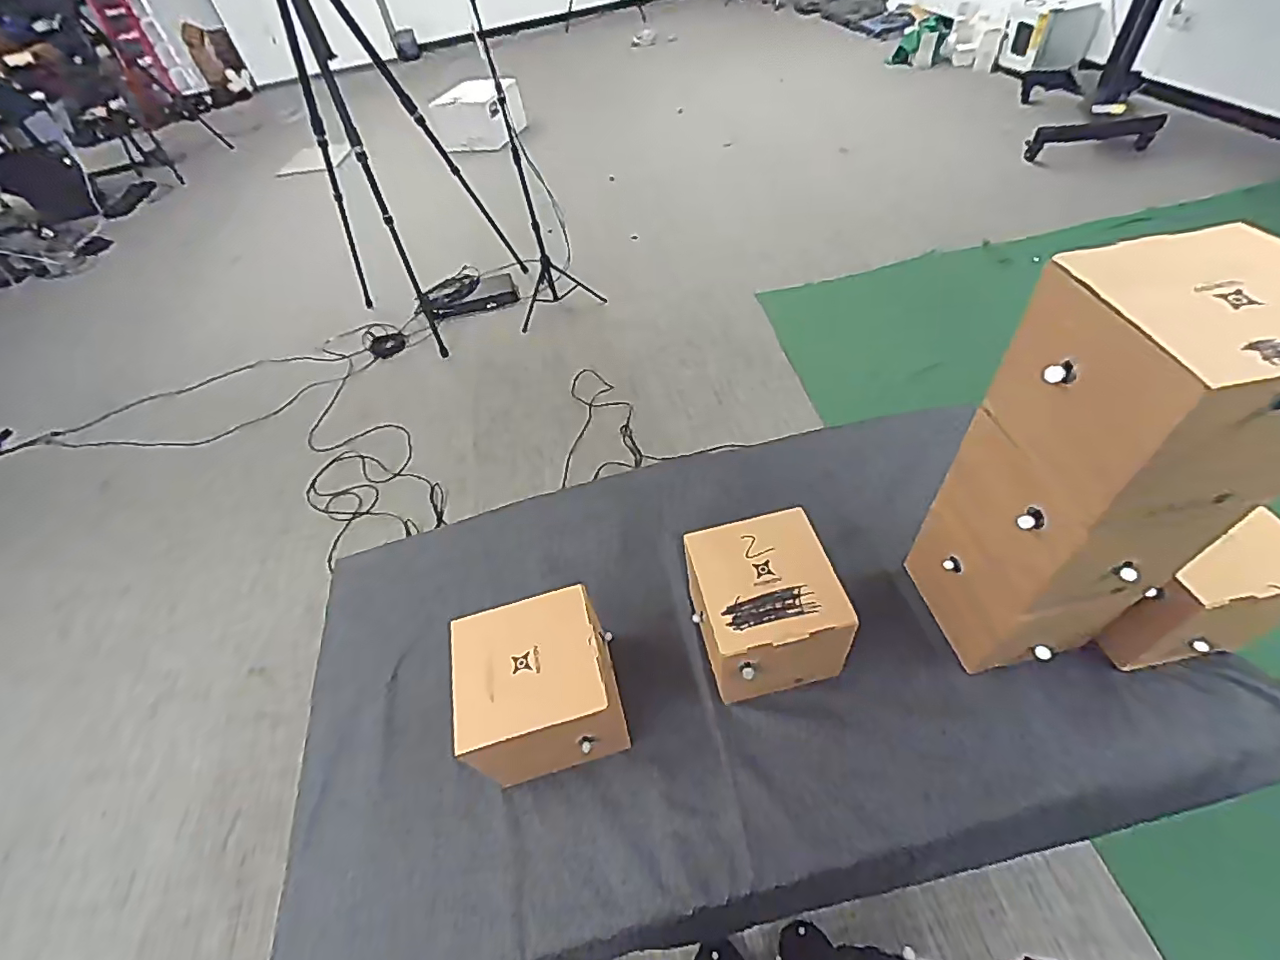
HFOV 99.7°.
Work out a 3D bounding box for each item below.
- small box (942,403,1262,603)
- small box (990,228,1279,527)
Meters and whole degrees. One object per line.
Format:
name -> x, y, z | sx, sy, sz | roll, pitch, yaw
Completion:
small box -> 0.469, 0.018, 0.590 | 0.168, 0.176, 0.179 | -11, 49, 0
small box -> 0.446, -0.085, 0.465 | 0.168, 0.176, 0.179 | -10, 49, 2
